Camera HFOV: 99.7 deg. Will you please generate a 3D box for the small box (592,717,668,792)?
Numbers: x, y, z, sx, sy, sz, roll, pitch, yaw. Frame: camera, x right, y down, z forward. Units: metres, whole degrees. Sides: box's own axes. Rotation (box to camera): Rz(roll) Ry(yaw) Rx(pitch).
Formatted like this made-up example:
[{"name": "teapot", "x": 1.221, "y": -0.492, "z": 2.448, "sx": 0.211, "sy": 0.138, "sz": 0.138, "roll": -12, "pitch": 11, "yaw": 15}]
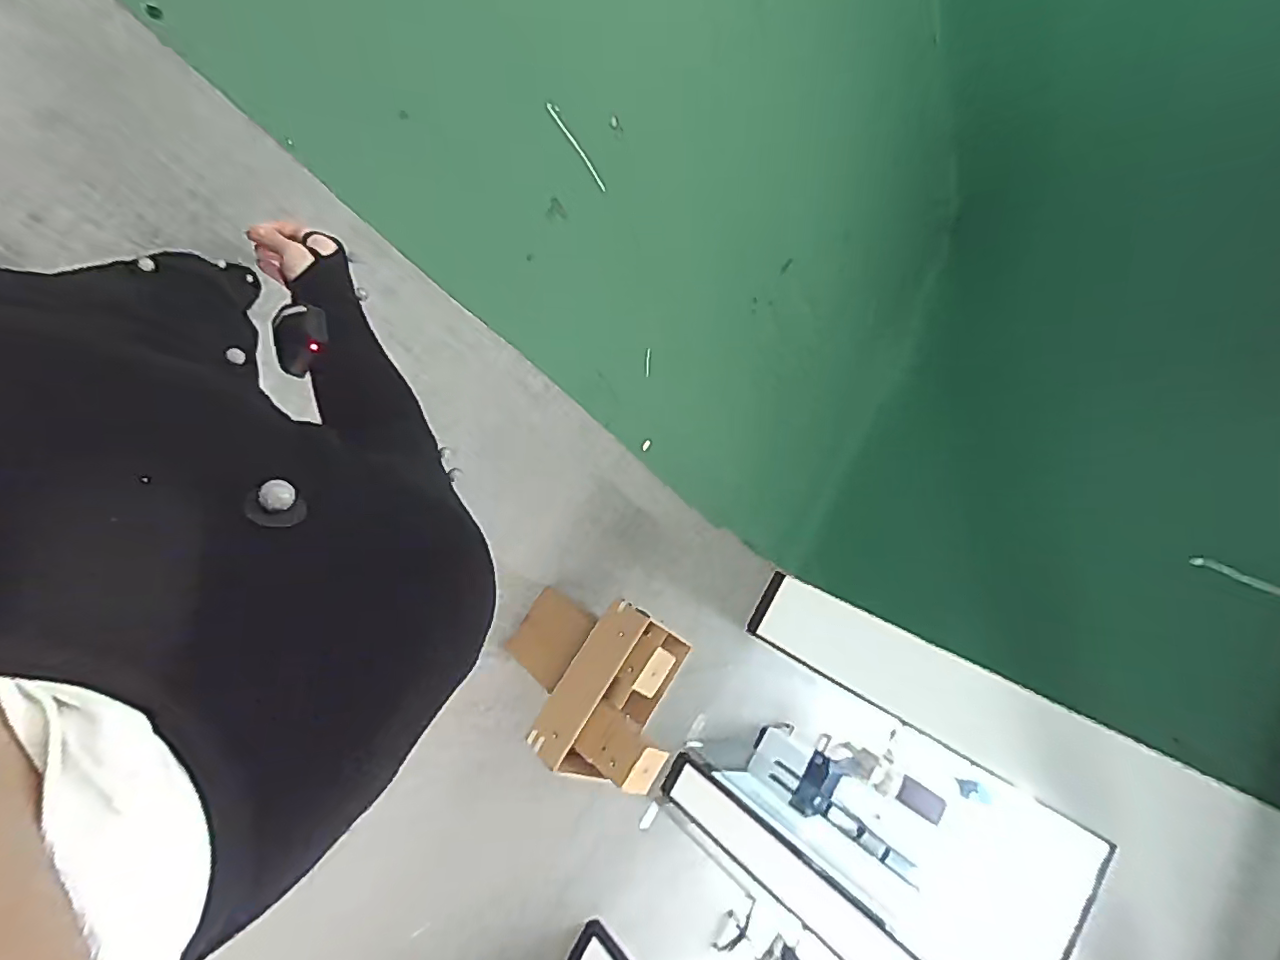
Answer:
[{"name": "small box", "x": -0.038, "y": 0.968, "z": 1.915, "sx": 0.168, "sy": 0.176, "sz": 0.179, "roll": -55, "pitch": 138, "yaw": -11}]
